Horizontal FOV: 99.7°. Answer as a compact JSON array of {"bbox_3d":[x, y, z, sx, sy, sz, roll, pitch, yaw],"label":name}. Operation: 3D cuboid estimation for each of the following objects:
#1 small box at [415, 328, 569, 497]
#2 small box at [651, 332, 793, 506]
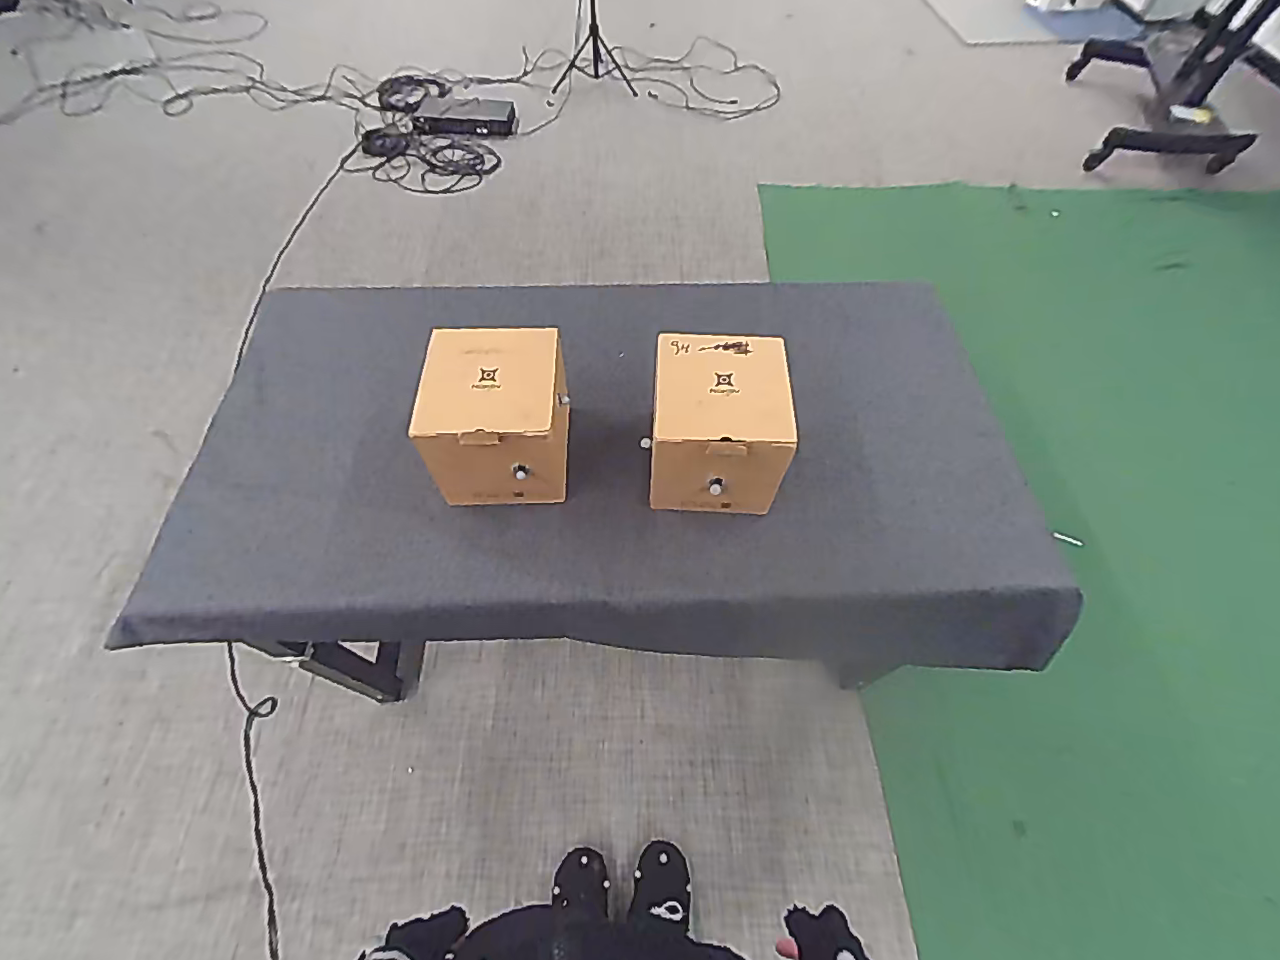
[{"bbox_3d":[-0.187,-0.085,0.743,0.168,0.176,0.179,-1,57,-3],"label":"small box"},{"bbox_3d":[0.101,-0.077,0.740,0.168,0.176,0.179,2,59,0],"label":"small box"}]
